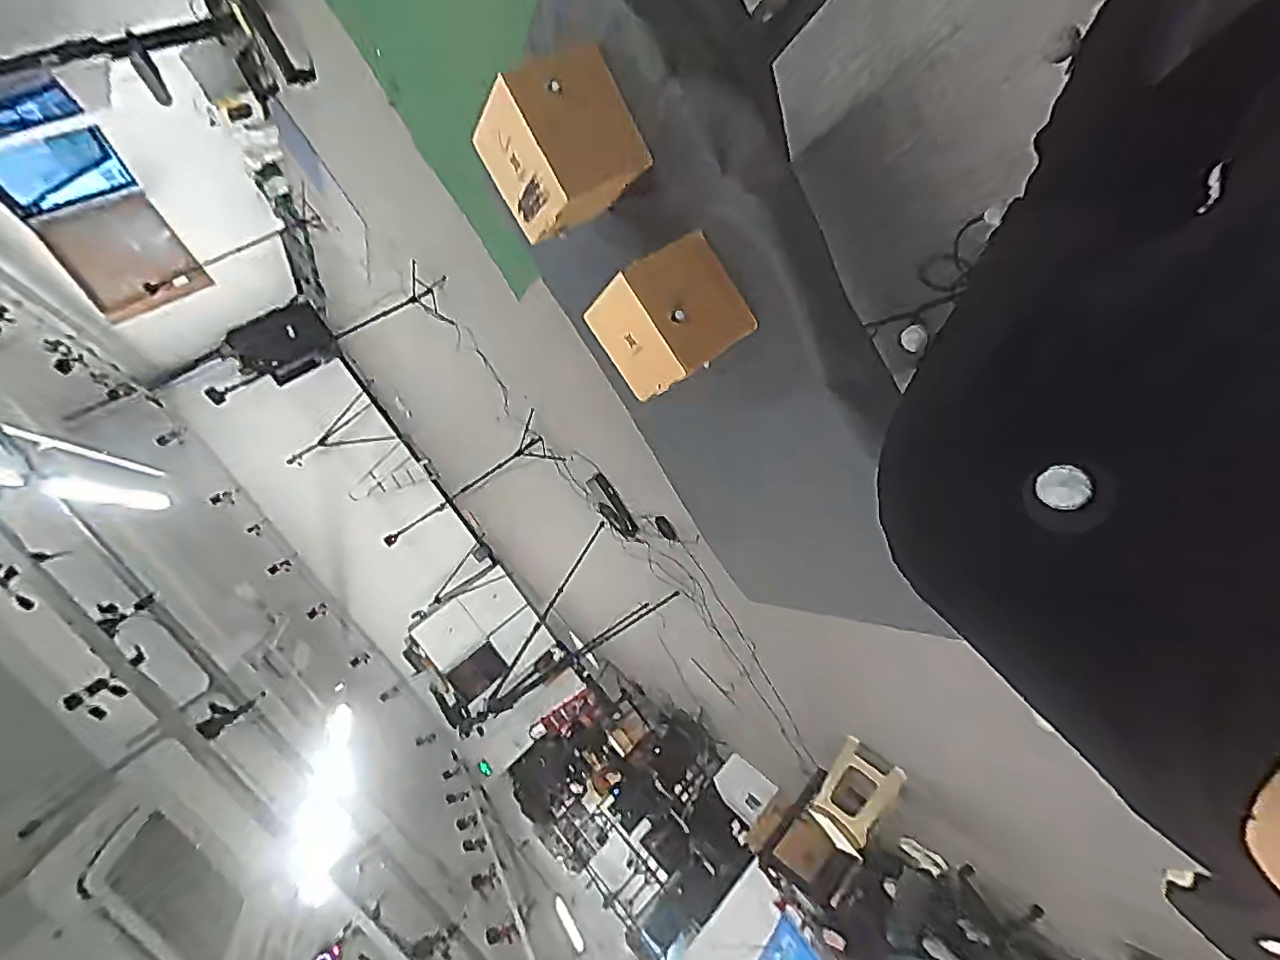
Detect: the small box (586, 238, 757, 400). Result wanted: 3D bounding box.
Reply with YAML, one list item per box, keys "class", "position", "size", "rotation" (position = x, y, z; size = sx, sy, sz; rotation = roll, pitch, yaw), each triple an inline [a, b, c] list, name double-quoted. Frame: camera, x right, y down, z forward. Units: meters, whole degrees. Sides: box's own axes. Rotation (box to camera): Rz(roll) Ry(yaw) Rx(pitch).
- class: "small box"
  position: [0.050, -0.260, 0.870]
  size: [0.179, 0.176, 0.168]
  rotation: [55, 156, -9]
